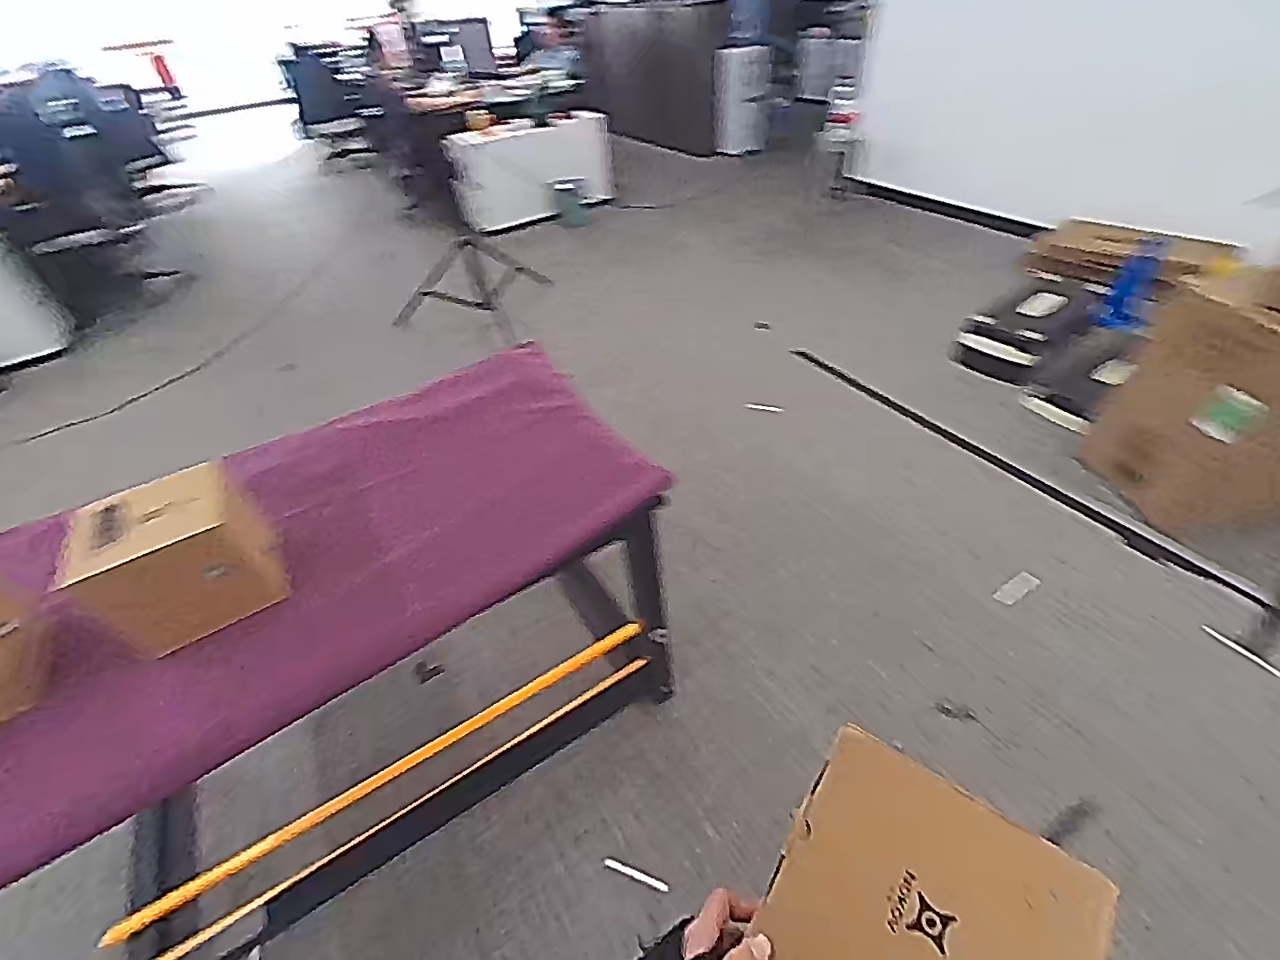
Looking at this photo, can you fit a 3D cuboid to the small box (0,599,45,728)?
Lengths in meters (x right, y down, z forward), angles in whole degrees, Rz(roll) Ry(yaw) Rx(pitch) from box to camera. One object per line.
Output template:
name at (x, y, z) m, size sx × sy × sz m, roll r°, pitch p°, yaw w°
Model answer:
small box at (-0.913, 0.240, 0.672) m, size 0.179 × 0.176 × 0.168 m, roll -27°, pitch 46°, yaw -24°
